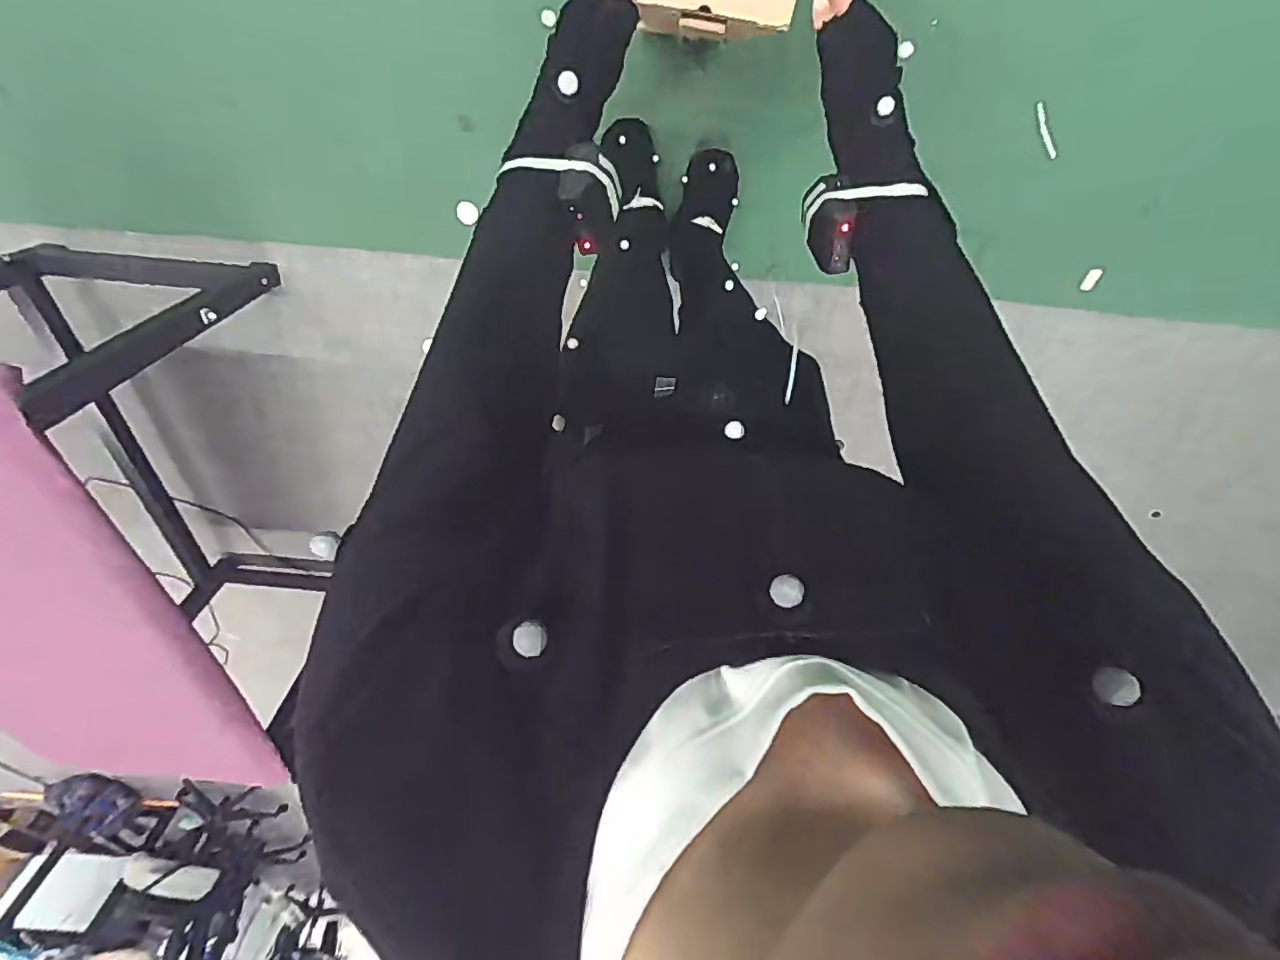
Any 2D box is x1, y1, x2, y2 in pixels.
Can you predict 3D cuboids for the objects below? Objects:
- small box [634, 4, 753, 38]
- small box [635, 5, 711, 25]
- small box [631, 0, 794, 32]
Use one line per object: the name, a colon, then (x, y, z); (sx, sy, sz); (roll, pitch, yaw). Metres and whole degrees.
small box: (0.087, -0.752, 0.780); (0.179, 0.176, 0.168); (4, 129, -1)
small box: (0.088, -0.656, 0.646); (0.179, 0.176, 0.168); (4, 129, 0)
small box: (0.074, -0.555, 0.516); (0.168, 0.176, 0.179); (7, 129, -3)
